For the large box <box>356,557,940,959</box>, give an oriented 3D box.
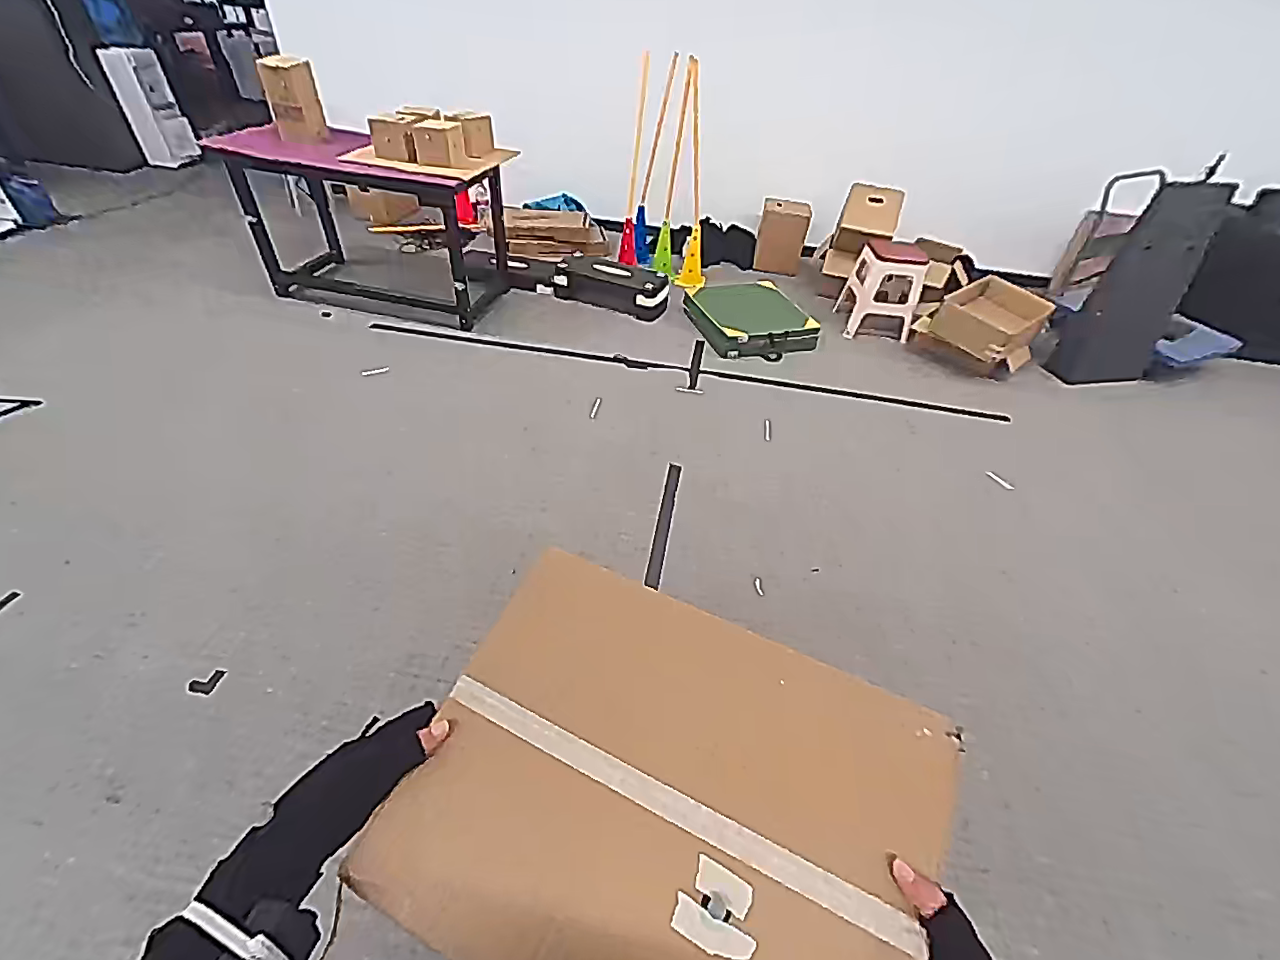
[{"bbox_3d":[0.022,0.340,0.567,0.408,0.320,0.320,20,60,16],"label":"large box"}]
